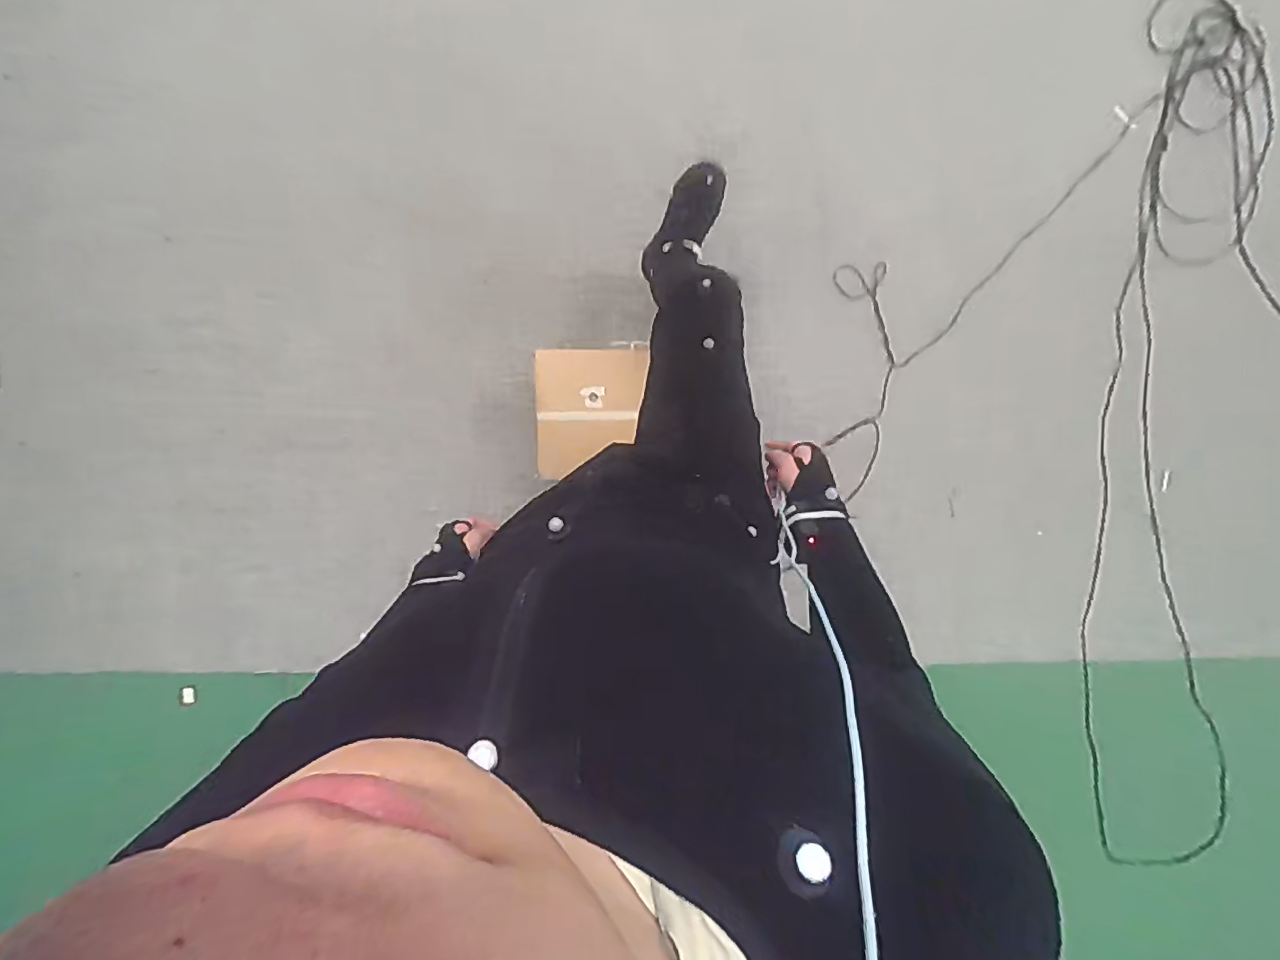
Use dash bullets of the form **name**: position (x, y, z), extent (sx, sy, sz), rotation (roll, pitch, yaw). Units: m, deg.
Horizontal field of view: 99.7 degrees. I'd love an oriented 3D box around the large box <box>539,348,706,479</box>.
- **large box**: position (-0.044, -0.178, 1.452), extent (0.408, 0.320, 0.320), rotation (-1, 97, -2)
